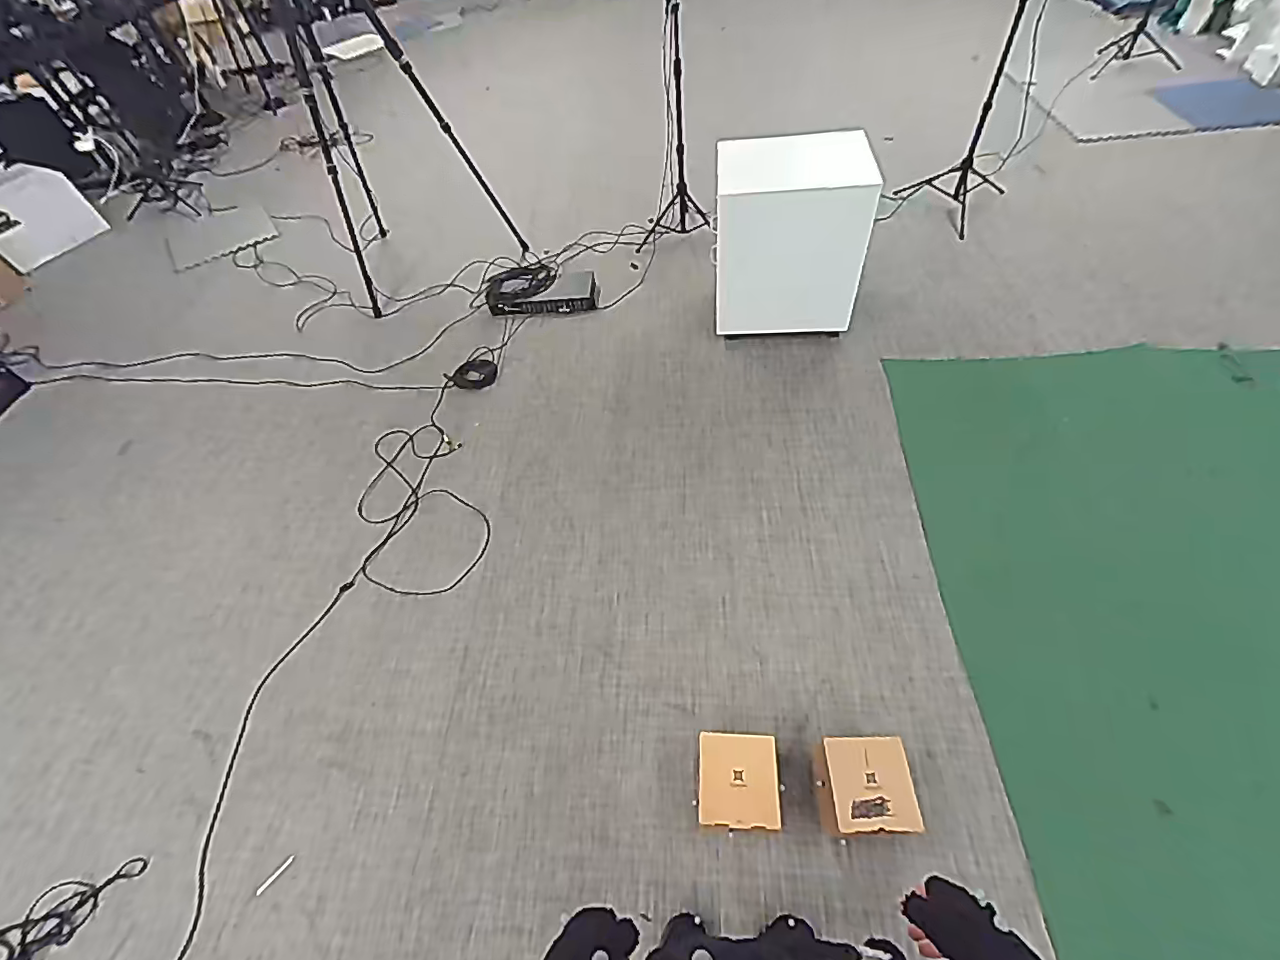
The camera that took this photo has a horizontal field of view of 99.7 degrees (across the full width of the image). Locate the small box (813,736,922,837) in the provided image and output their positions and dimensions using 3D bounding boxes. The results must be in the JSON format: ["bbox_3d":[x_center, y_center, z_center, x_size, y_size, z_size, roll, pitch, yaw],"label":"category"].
[{"bbox_3d":[0.483,0.666,1.172,0.168,0.176,0.179,-3,53,5],"label":"small box"}]

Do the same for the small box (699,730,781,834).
[{"bbox_3d":[0.215,0.674,1.203,0.168,0.176,0.179,0,54,7],"label":"small box"}]
